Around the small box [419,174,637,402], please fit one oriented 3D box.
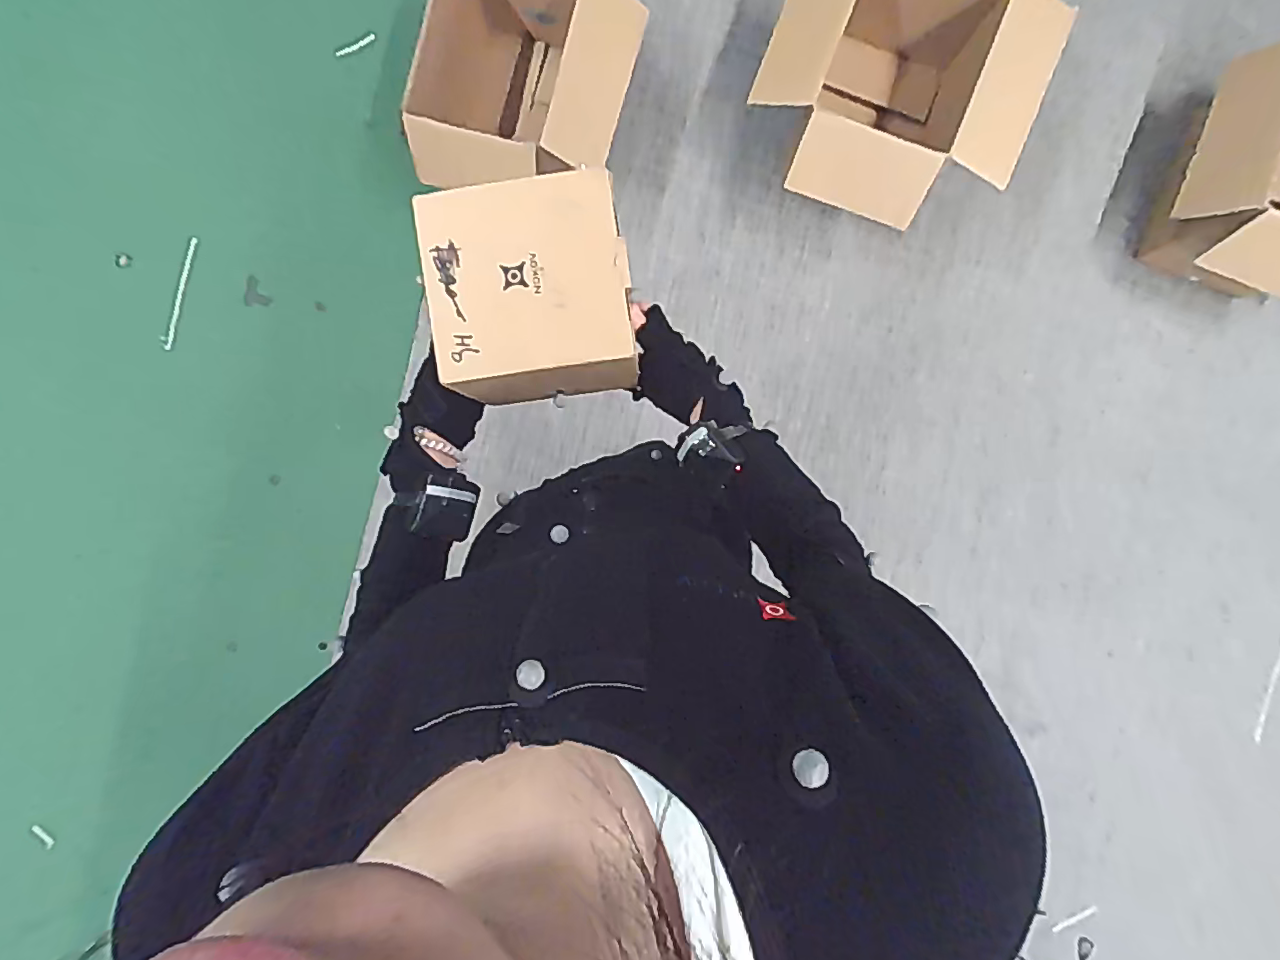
[{"bbox_3d":[-0.100,-0.179,0.553,0.179,0.176,0.168,-7,90,-1],"label":"small box"}]
